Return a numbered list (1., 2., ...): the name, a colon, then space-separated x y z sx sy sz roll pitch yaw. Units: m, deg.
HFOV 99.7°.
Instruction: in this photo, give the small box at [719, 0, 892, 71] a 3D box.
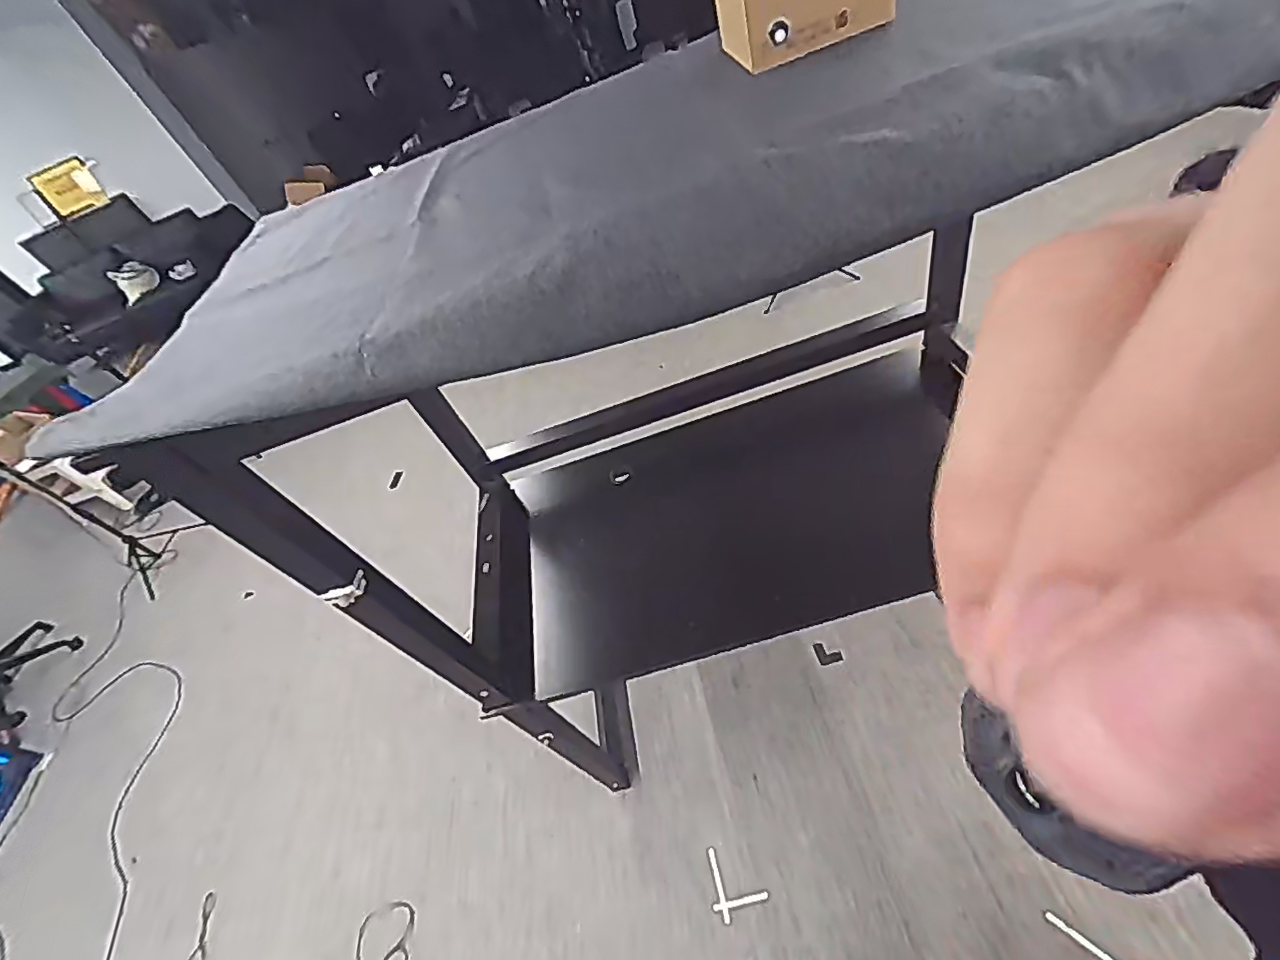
1. small box: 0.181 -0.607 0.624 0.168 0.176 0.179 -16 45 8
